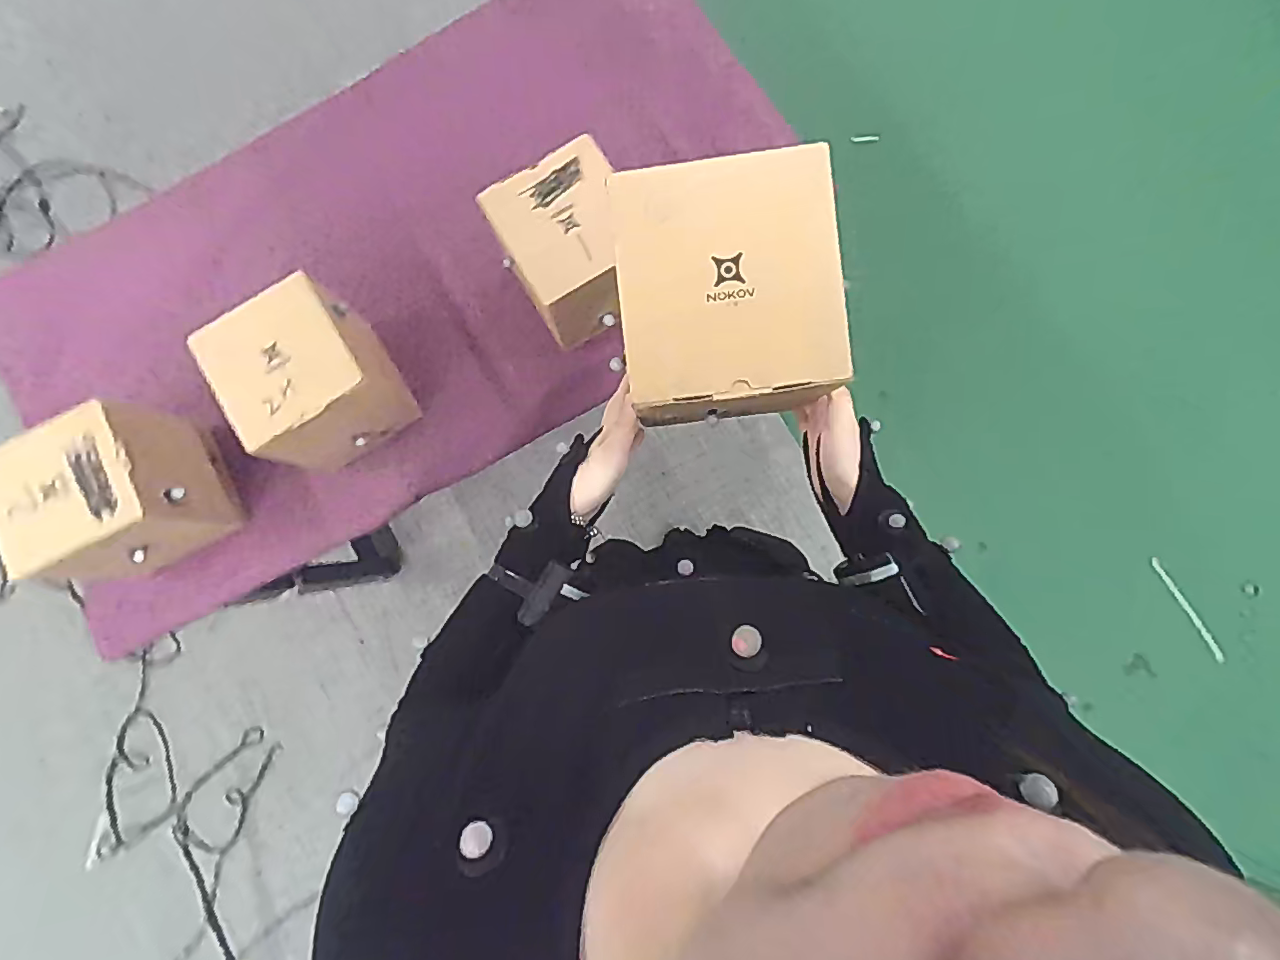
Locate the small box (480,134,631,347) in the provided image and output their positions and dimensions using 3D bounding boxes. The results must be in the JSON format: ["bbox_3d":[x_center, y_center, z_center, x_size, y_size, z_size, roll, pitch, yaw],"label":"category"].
[{"bbox_3d":[-0.090,-0.318,0.753,0.168,0.176,0.179,-32,84,-2],"label":"small box"}]

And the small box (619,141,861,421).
[{"bbox_3d":[0.075,-0.154,0.475,0.168,0.176,0.179,-7,91,3],"label":"small box"}]

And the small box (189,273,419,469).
[{"bbox_3d":[-0.440,-0.135,0.737,0.168,0.176,0.179,-33,83,-2],"label":"small box"}]
